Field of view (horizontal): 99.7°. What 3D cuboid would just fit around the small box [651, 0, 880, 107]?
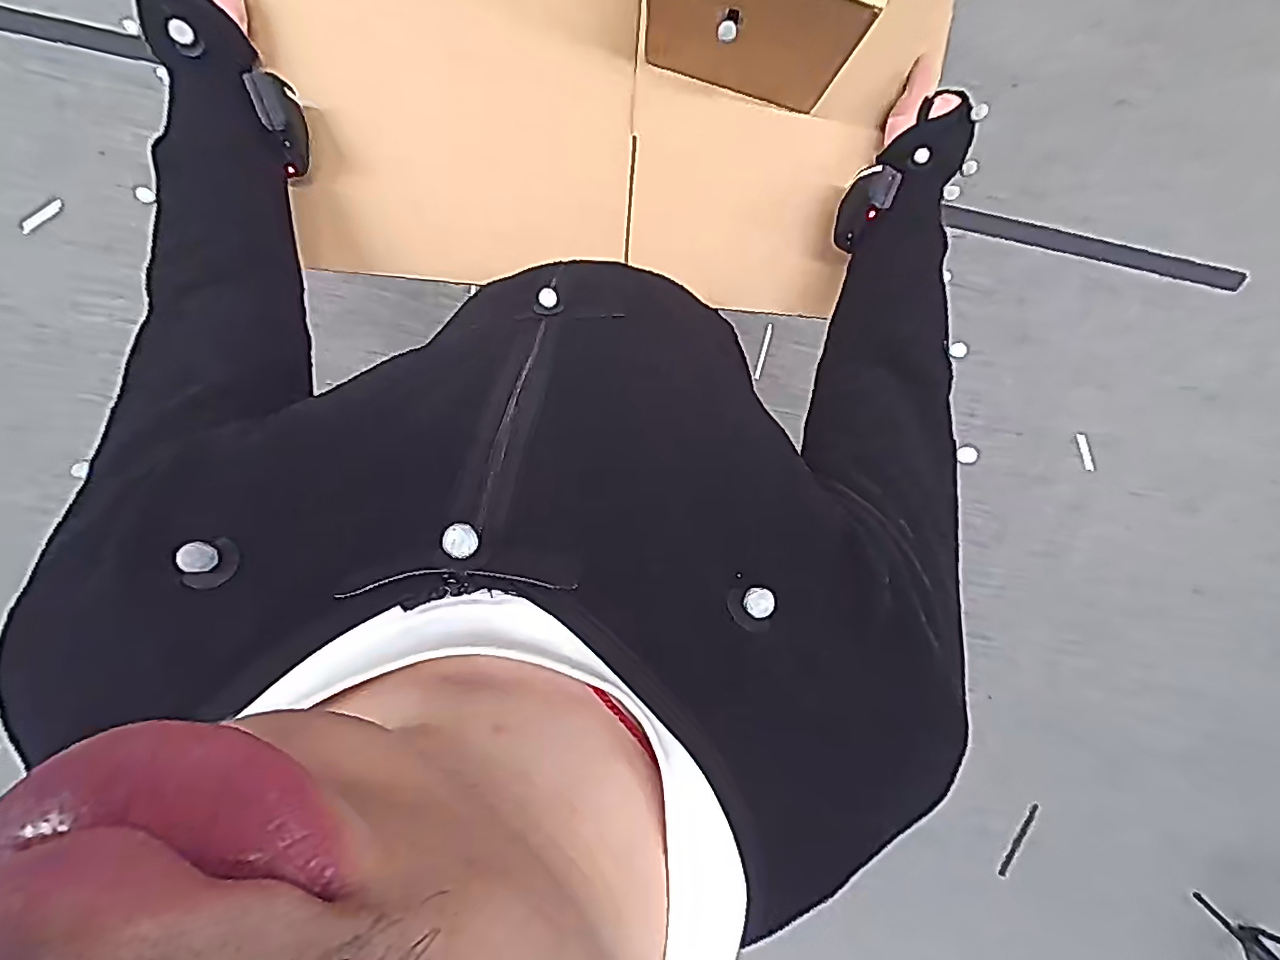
[{"bbox_3d":[0.110,-0.451,0.449,0.179,0.176,0.168,15,102,-3],"label":"small box"}]
